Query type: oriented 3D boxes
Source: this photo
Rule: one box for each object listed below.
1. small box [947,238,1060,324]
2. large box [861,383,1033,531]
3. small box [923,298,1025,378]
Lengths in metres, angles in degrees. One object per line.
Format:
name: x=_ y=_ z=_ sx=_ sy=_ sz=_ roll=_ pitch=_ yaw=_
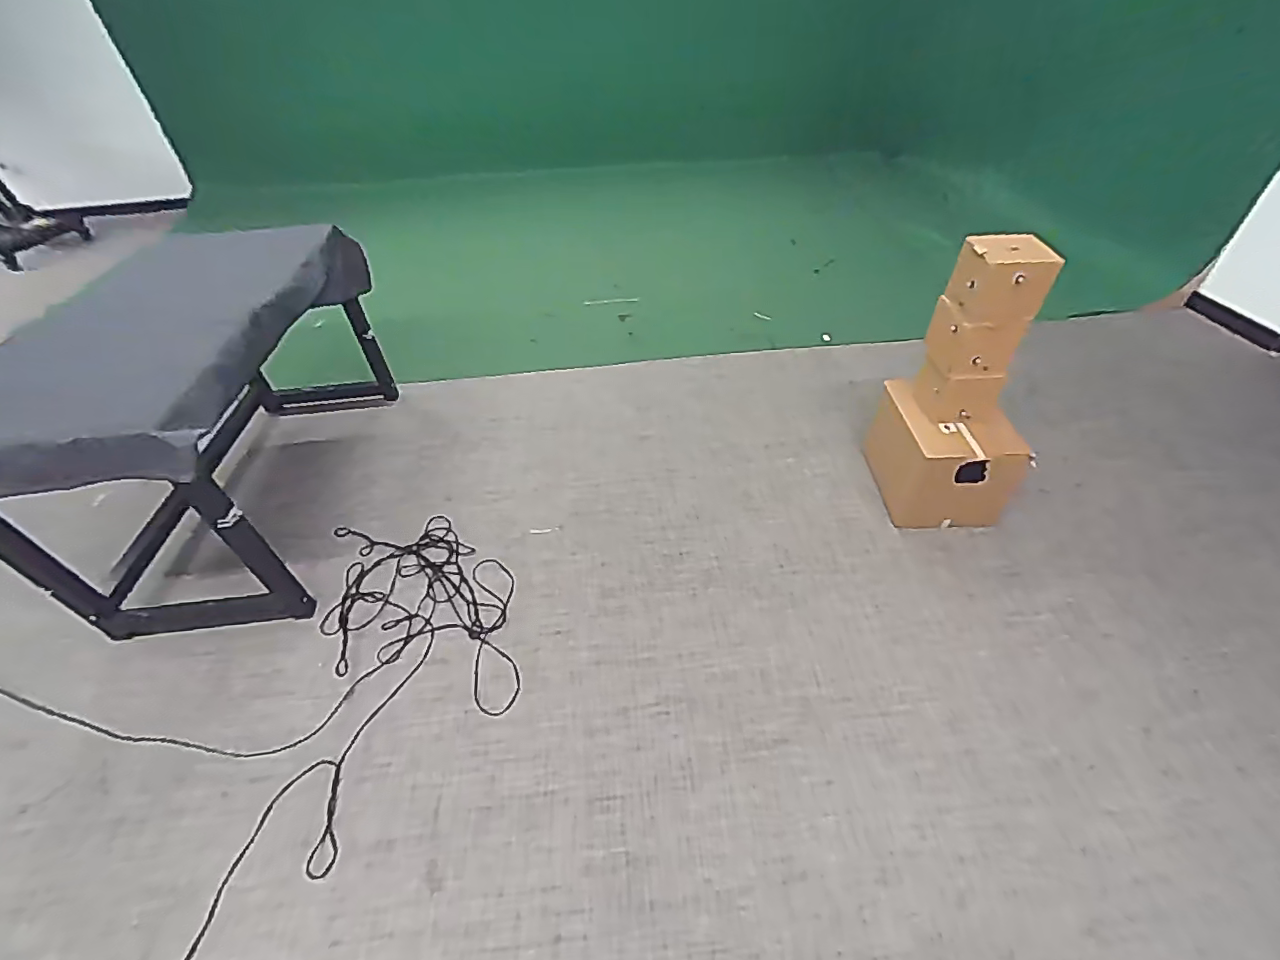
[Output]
small box: x=0.953 y=-0.527 z=1.444 sx=0.179 sy=0.176 sz=0.168 roll=0 pitch=46 yaw=1
large box: x=0.984 y=-0.082 z=1.801 sx=0.320 sy=0.320 sz=0.408 roll=-3 pitch=45 yaw=2
small box: x=0.949 y=-0.410 z=1.558 sx=0.168 sy=0.176 sz=0.179 roll=-3 pitch=45 yaw=0
